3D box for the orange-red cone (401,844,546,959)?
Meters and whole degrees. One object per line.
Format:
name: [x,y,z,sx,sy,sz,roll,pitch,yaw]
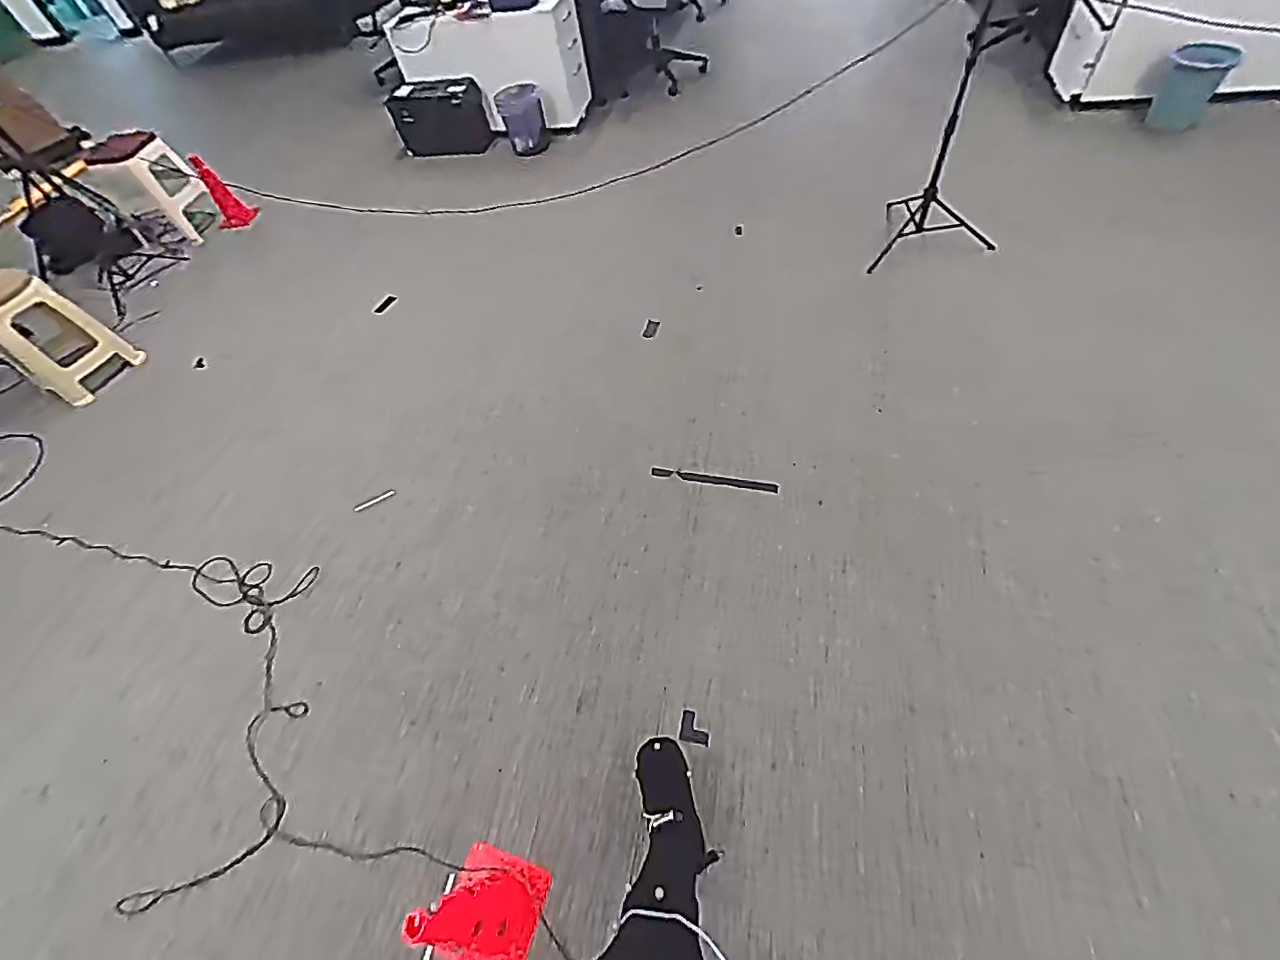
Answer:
orange-red cone: [-0.336,0.807,0.992,0.199,0.360,0.198,14,59,17]
